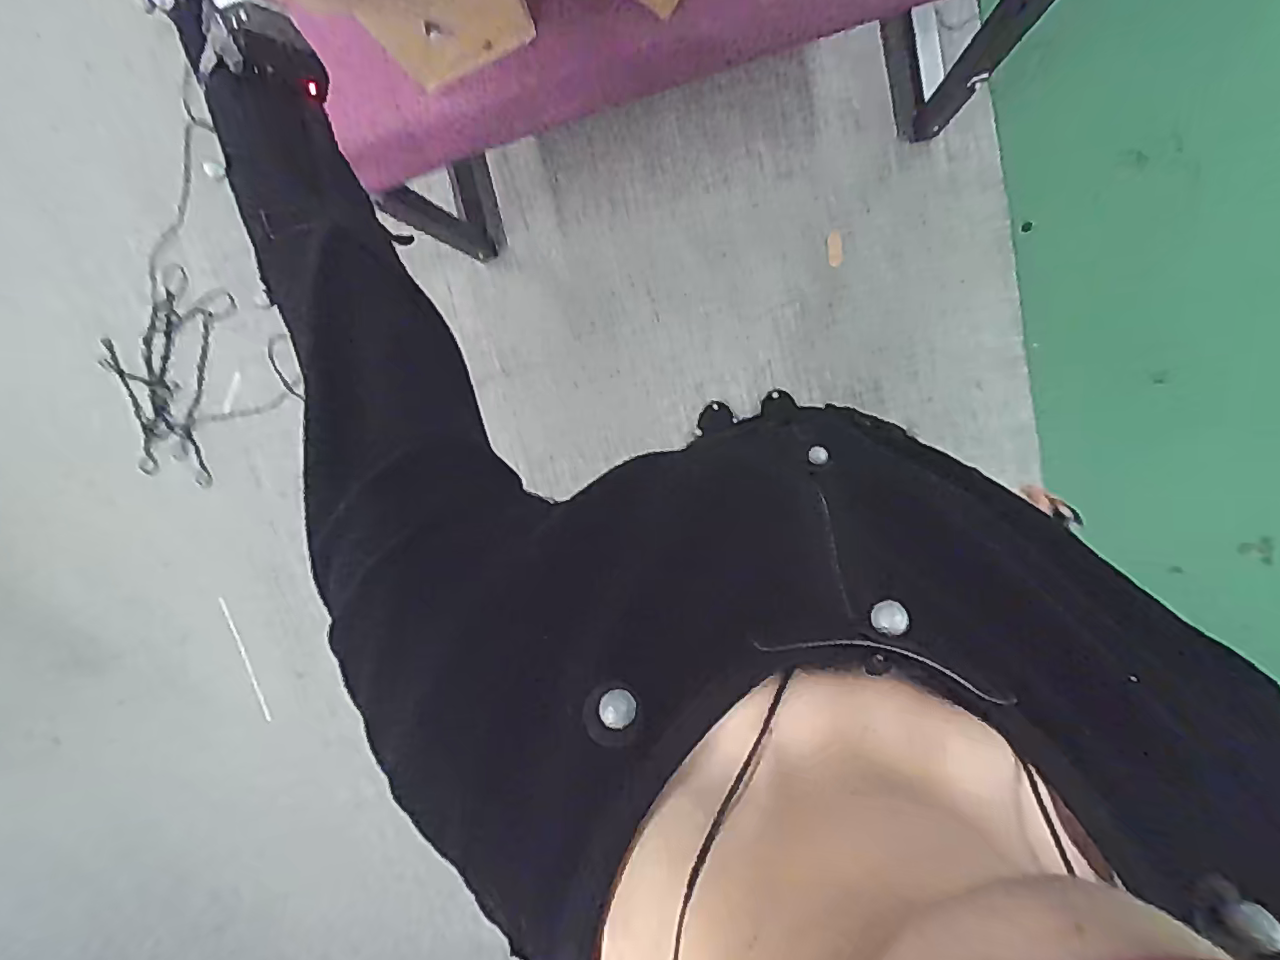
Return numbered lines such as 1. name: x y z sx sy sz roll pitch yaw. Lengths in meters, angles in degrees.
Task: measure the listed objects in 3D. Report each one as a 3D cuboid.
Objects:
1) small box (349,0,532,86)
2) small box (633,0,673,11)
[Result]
1. small box: -0.249 -0.612 0.636 0.168 0.176 0.179 -19 95 12
2. small box: 0.003 -0.673 0.586 0.179 0.176 0.168 39 102 1
